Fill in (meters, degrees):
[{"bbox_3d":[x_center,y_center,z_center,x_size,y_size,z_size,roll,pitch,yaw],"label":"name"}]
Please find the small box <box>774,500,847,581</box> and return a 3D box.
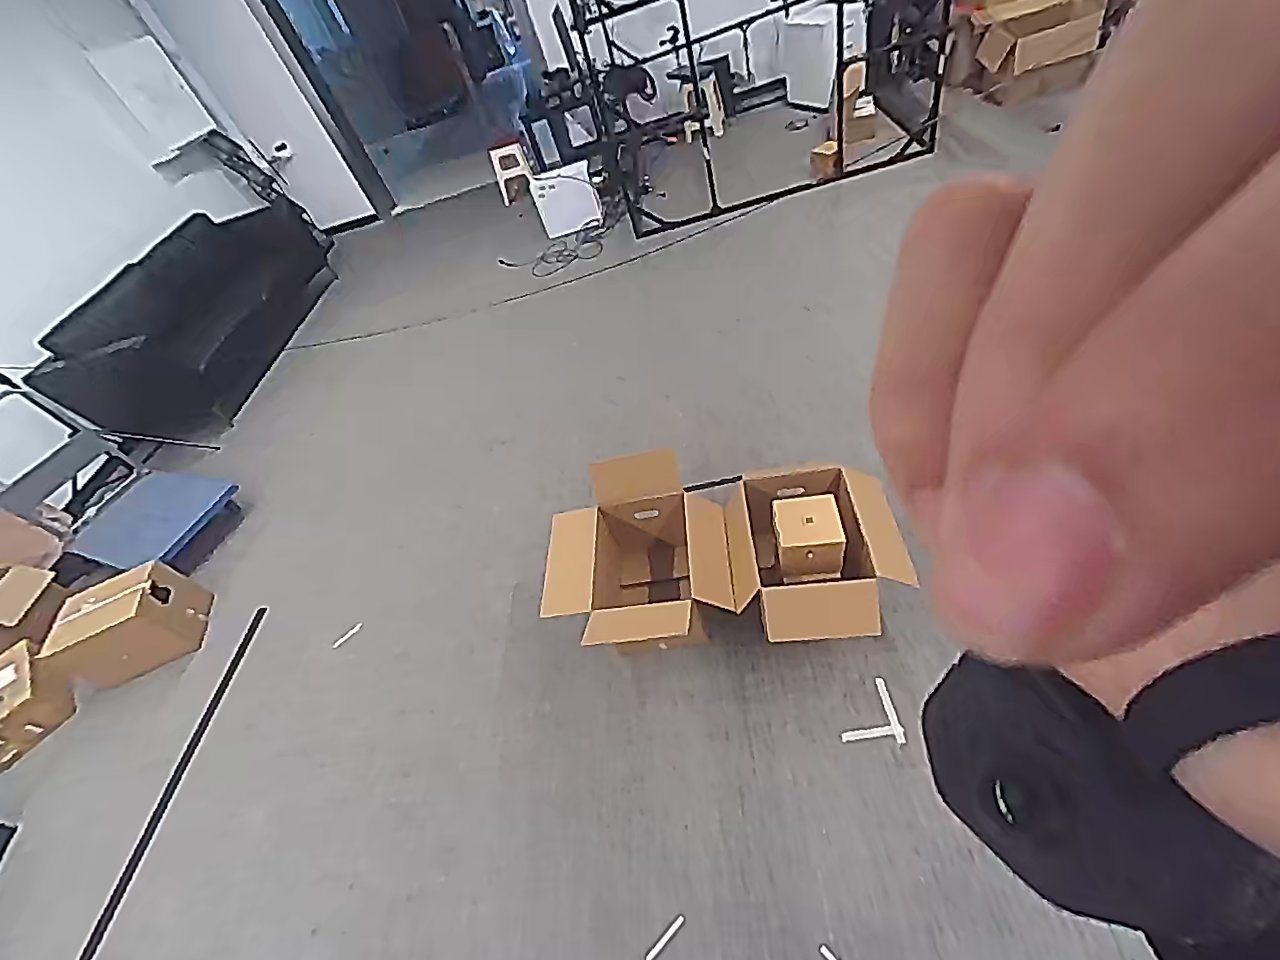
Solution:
[{"bbox_3d":[0.491,0.179,1.578,0.179,0.176,0.168,-8,49,10],"label":"small box"}]
